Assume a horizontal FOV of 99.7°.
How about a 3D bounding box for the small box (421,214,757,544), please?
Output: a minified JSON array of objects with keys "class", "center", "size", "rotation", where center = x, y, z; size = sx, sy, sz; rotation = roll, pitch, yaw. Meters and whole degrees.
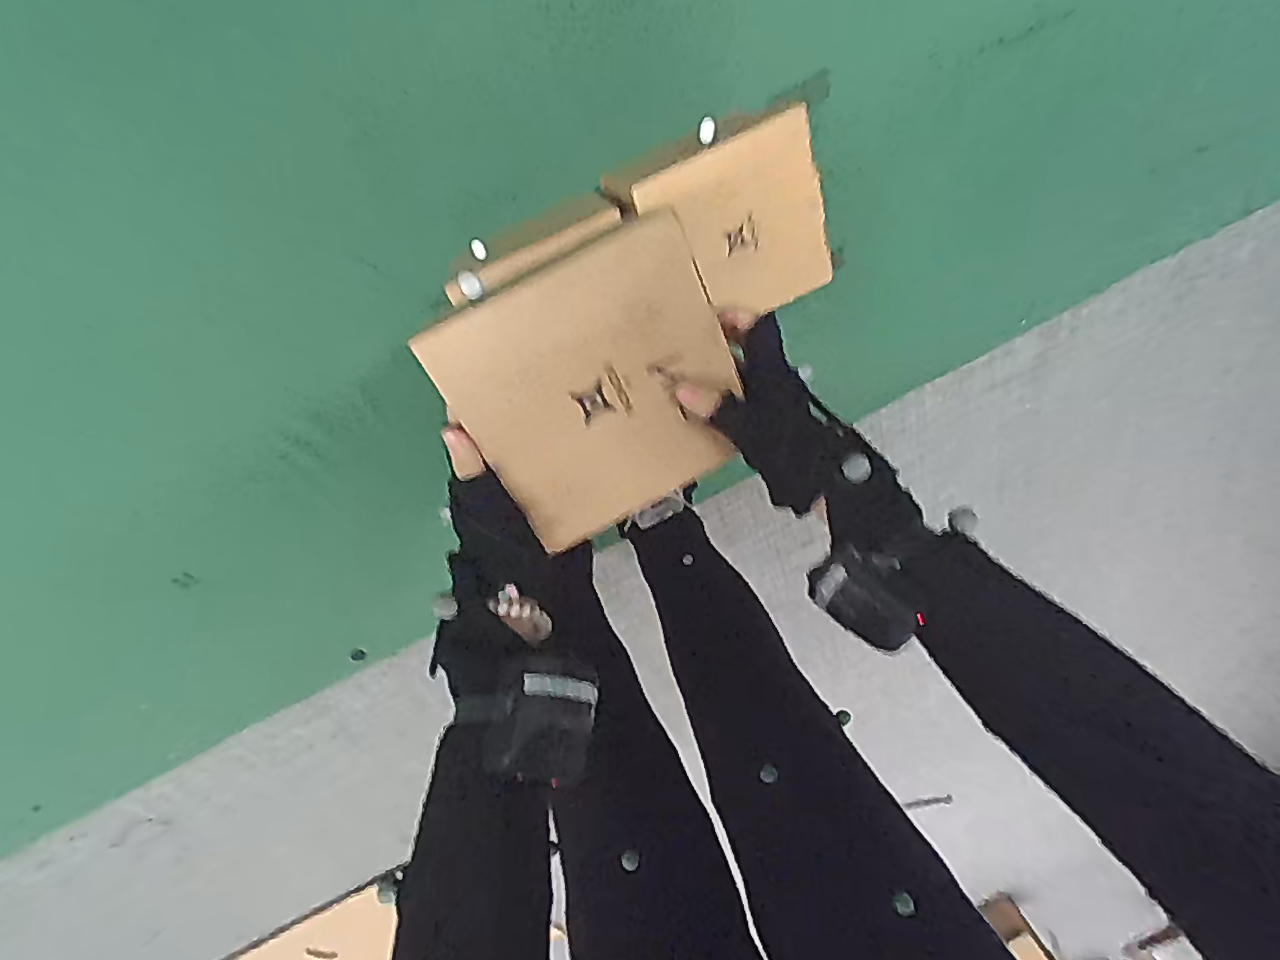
[{"class":"small box","center":[-0.039,-0.085,0.428],"size":[0.179,0.176,0.168],"rotation":[-28,116,-1]}]
